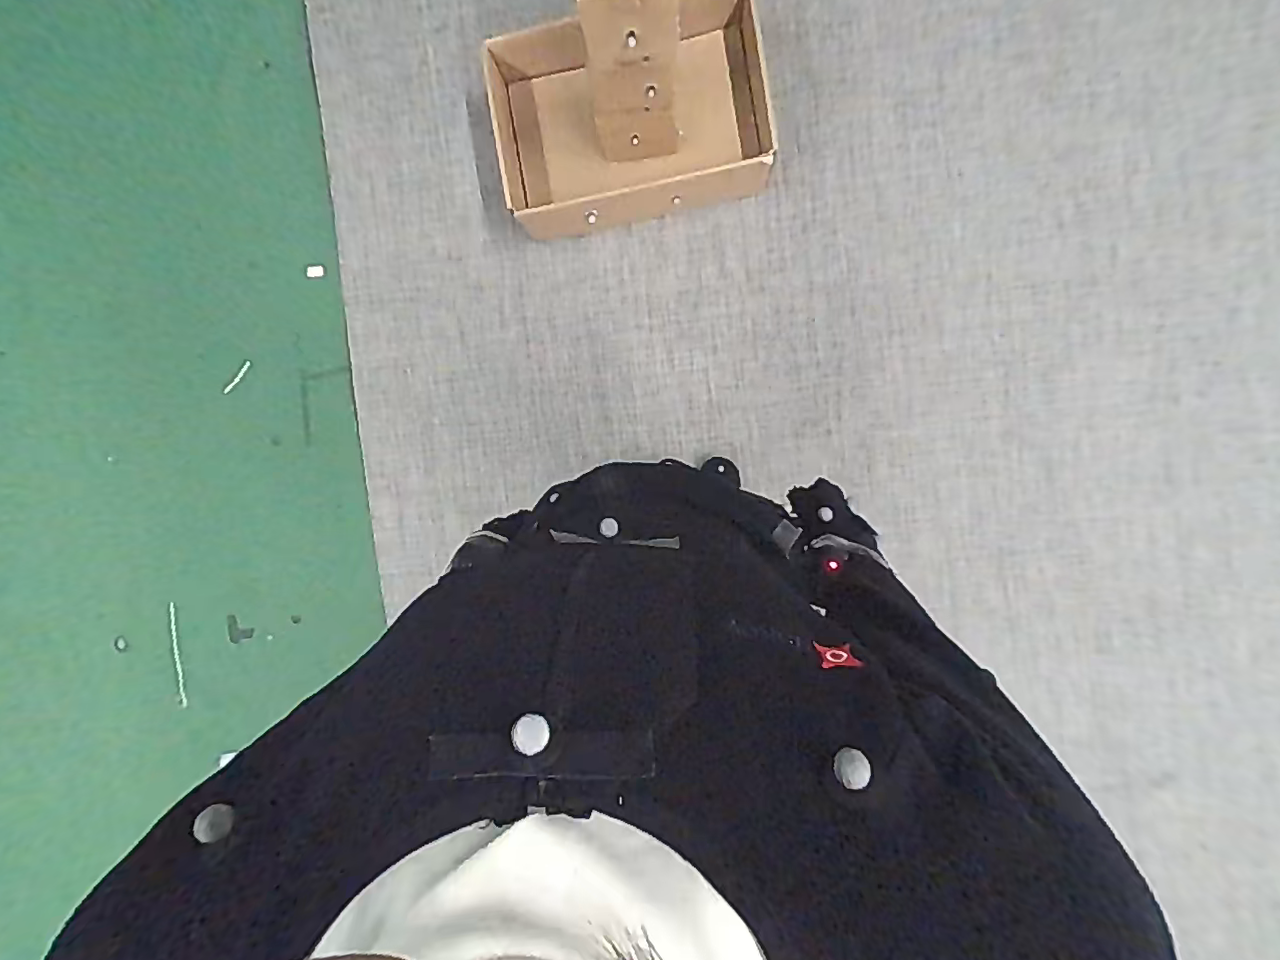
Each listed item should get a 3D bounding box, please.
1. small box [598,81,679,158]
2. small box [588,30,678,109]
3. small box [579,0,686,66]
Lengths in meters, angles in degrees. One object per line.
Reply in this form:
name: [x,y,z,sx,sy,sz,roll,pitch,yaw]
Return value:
small box: [0.002,-0.890,1.270,0.179,0.176,0.168,-2,92,8]
small box: [-0.009,-0.884,1.093,0.168,0.176,0.179,-1,92,5]
small box: [-0.009,-0.870,0.949,0.168,0.176,0.179,-1,93,9]
